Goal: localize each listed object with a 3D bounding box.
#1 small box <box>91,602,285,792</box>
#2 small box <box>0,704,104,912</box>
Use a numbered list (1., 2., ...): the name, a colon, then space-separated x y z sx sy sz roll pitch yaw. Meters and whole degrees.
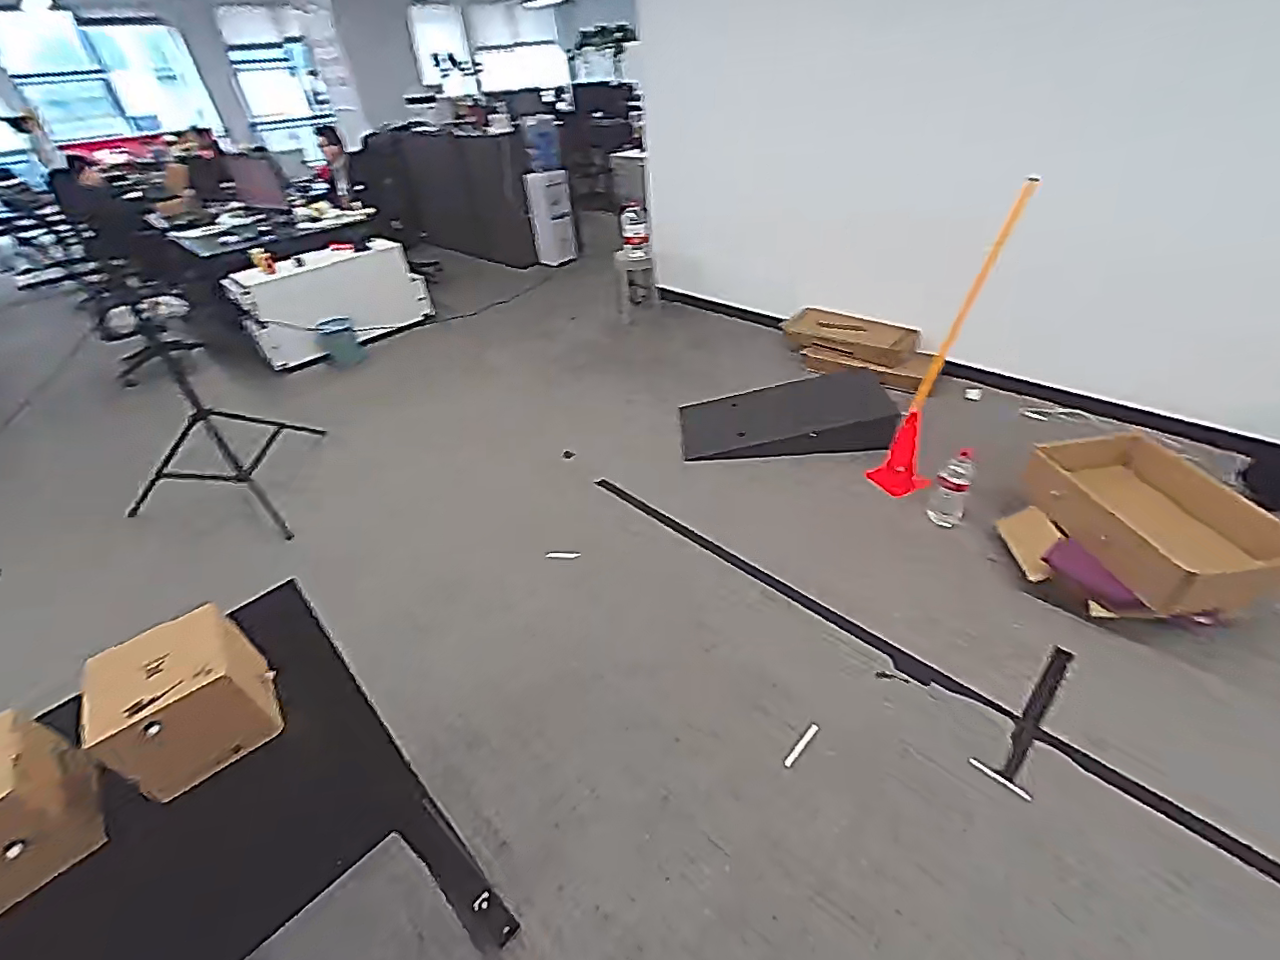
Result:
1. small box: -0.685 0.331 0.833 0.168 0.176 0.179 -29 43 -27
2. small box: -0.858 0.445 0.710 0.179 0.176 0.168 -34 45 -31
